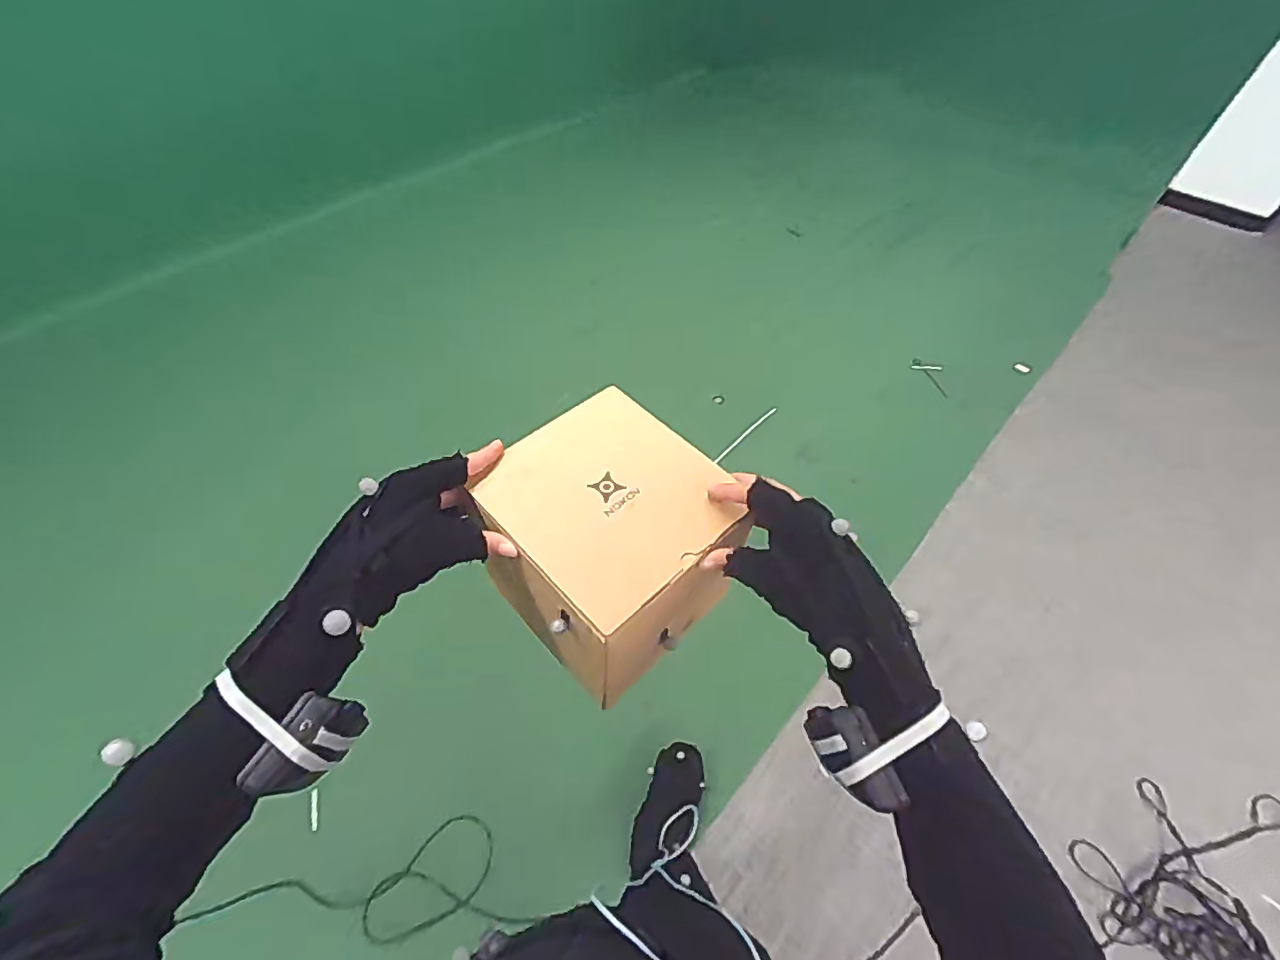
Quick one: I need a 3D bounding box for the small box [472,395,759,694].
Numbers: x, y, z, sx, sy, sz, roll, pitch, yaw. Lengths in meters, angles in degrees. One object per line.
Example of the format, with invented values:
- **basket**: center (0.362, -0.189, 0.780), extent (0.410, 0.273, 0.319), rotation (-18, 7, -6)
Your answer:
- **small box**: center (-0.027, 0.061, 0.495), extent (0.168, 0.176, 0.179), rotation (-36, 64, -28)
